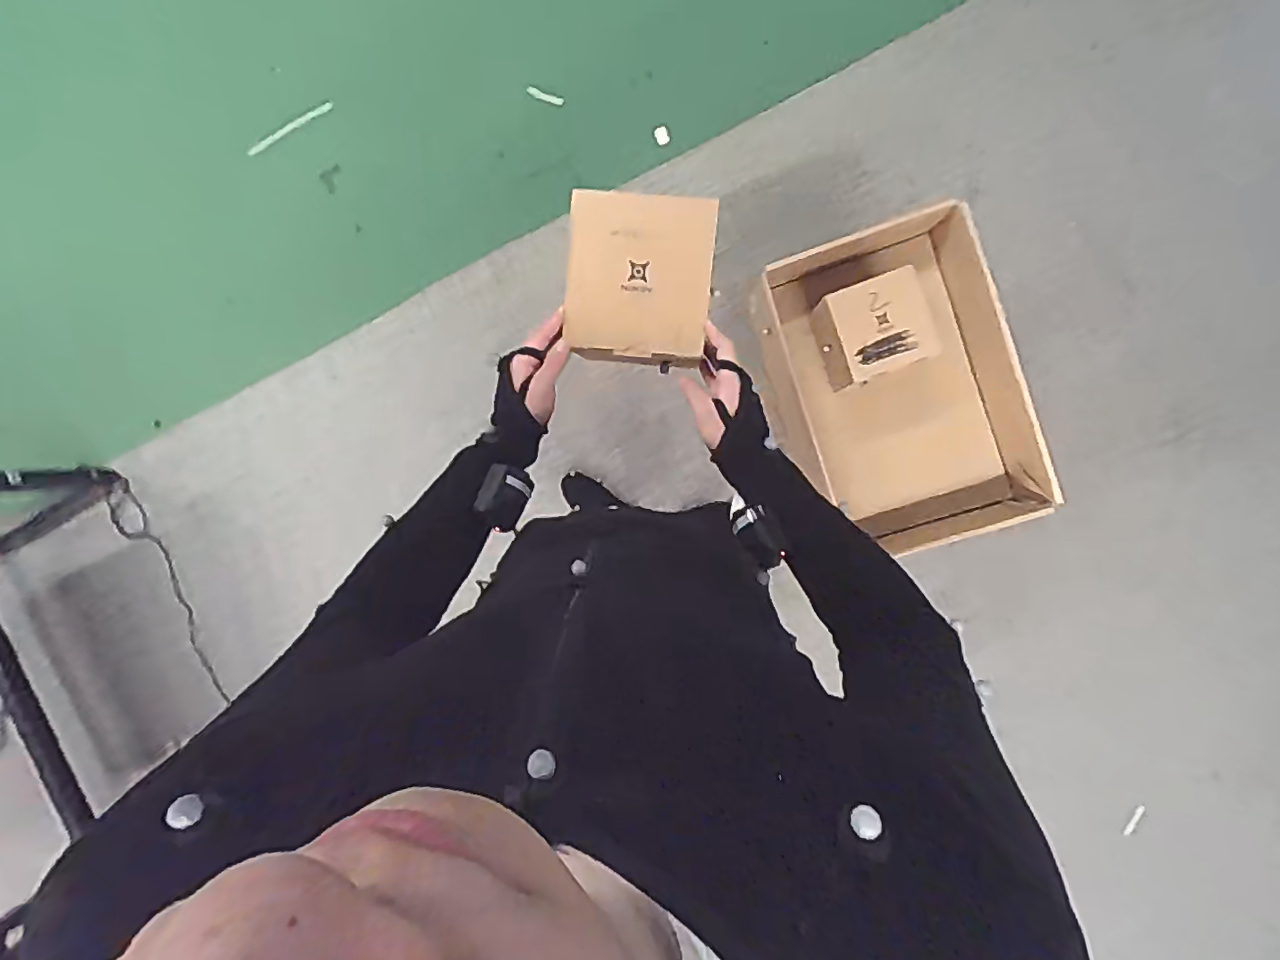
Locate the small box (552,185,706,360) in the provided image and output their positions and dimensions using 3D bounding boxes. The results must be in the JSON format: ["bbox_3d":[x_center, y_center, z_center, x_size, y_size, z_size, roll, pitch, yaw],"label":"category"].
[{"bbox_3d":[-0.007,-0.251,0.693,0.168,0.176,0.179,6,100,4],"label":"small box"}]
